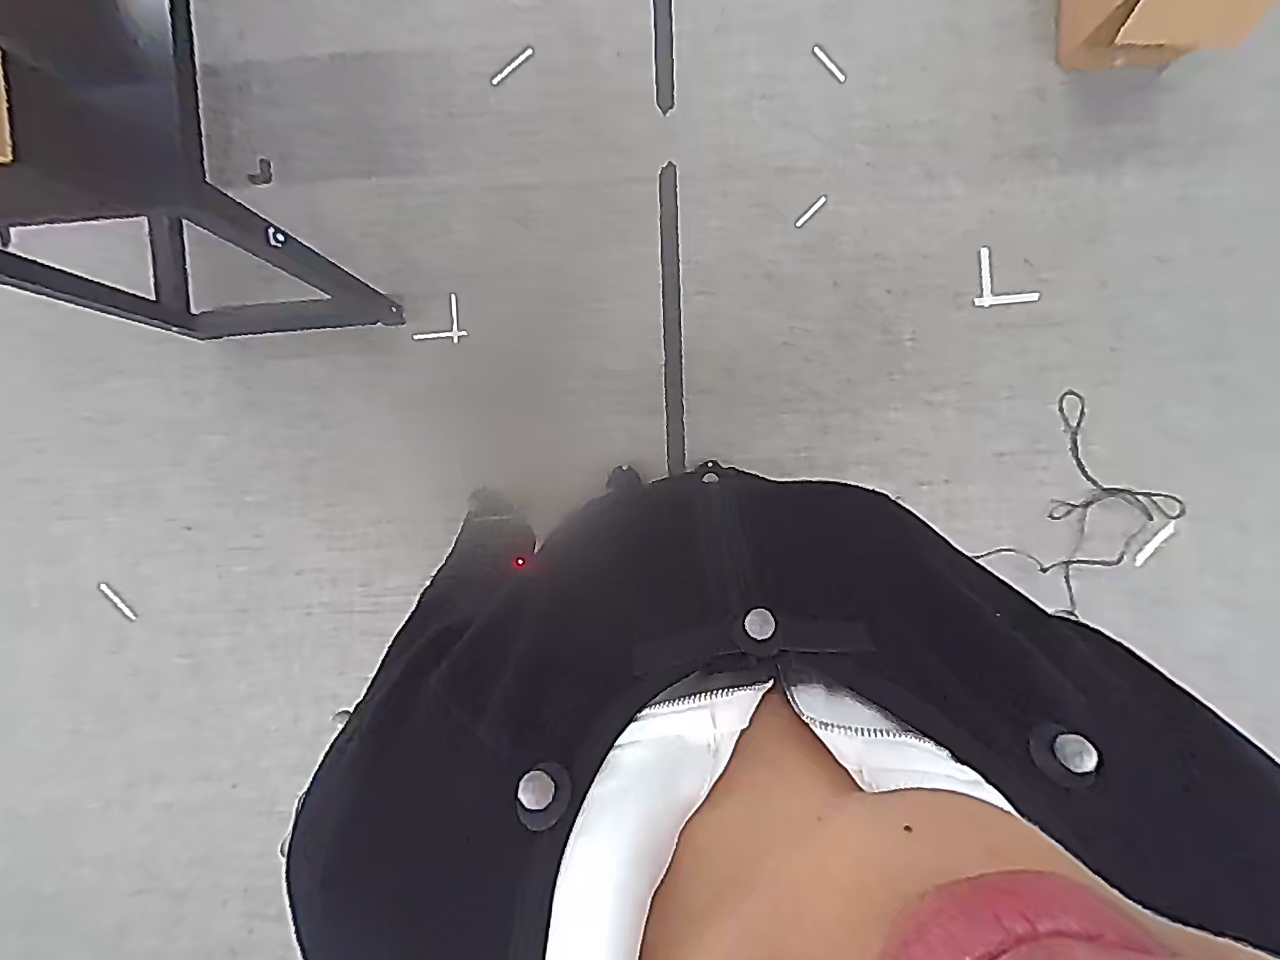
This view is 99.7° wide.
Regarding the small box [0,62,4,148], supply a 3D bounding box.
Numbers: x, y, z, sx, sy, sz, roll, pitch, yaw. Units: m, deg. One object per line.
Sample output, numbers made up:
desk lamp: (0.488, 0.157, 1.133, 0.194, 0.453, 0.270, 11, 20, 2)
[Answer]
small box: (-0.991, -0.527, 0.696, 0.179, 0.176, 0.168, -5, 90, 2)
